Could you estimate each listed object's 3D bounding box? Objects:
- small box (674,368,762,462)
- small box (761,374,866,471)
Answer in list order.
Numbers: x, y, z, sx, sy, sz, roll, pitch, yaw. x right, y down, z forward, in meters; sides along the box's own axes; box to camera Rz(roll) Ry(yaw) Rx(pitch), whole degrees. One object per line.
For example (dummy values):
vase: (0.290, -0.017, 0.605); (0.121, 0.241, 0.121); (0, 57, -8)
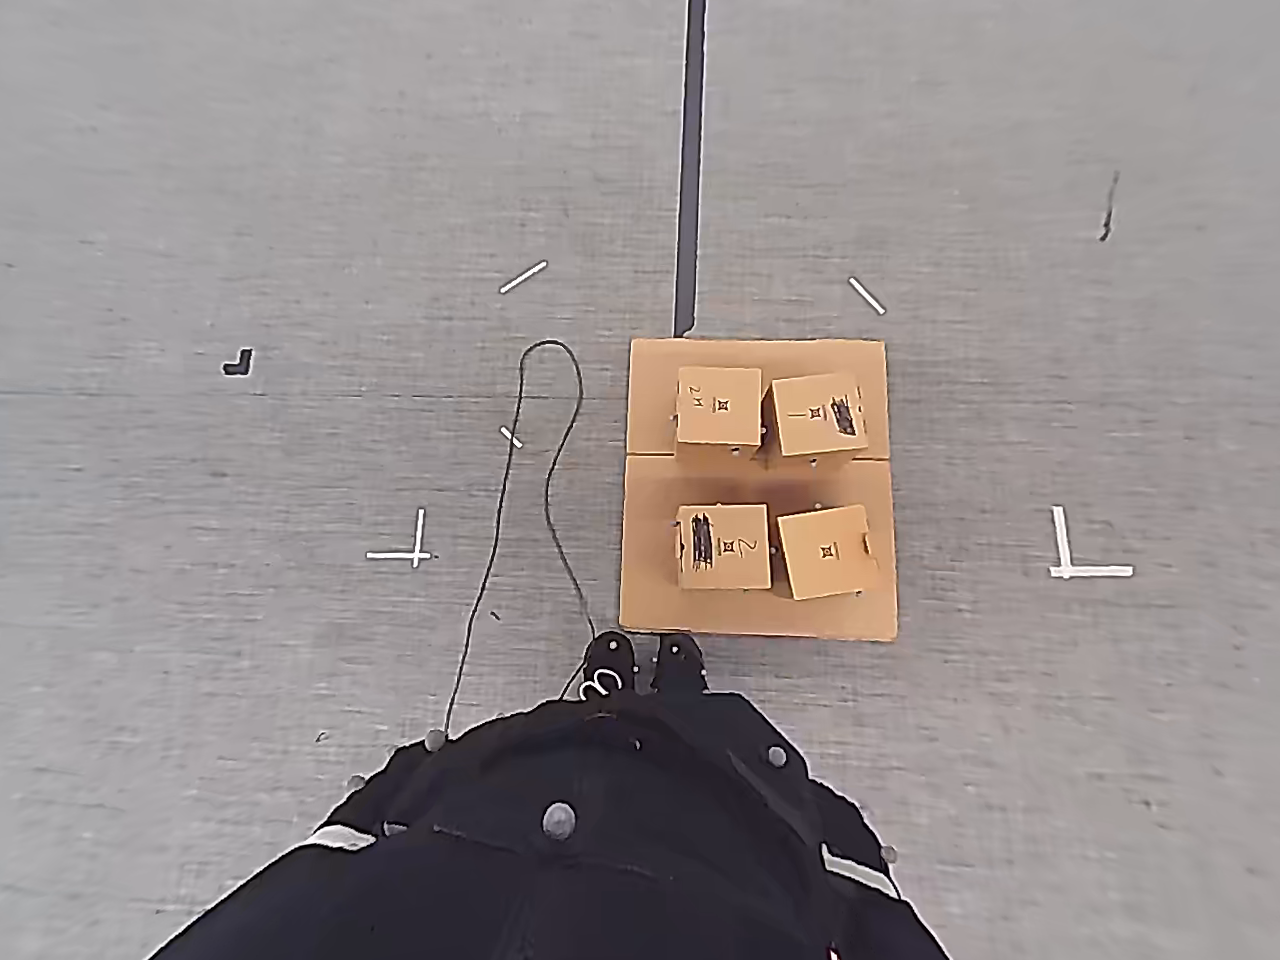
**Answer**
small box: (0.169, -0.139, 1.208); (0.179, 0.176, 0.168); (3, 79, 3)
small box: (0.371, -0.121, 1.192); (0.179, 0.176, 0.168); (-6, 79, 3)
